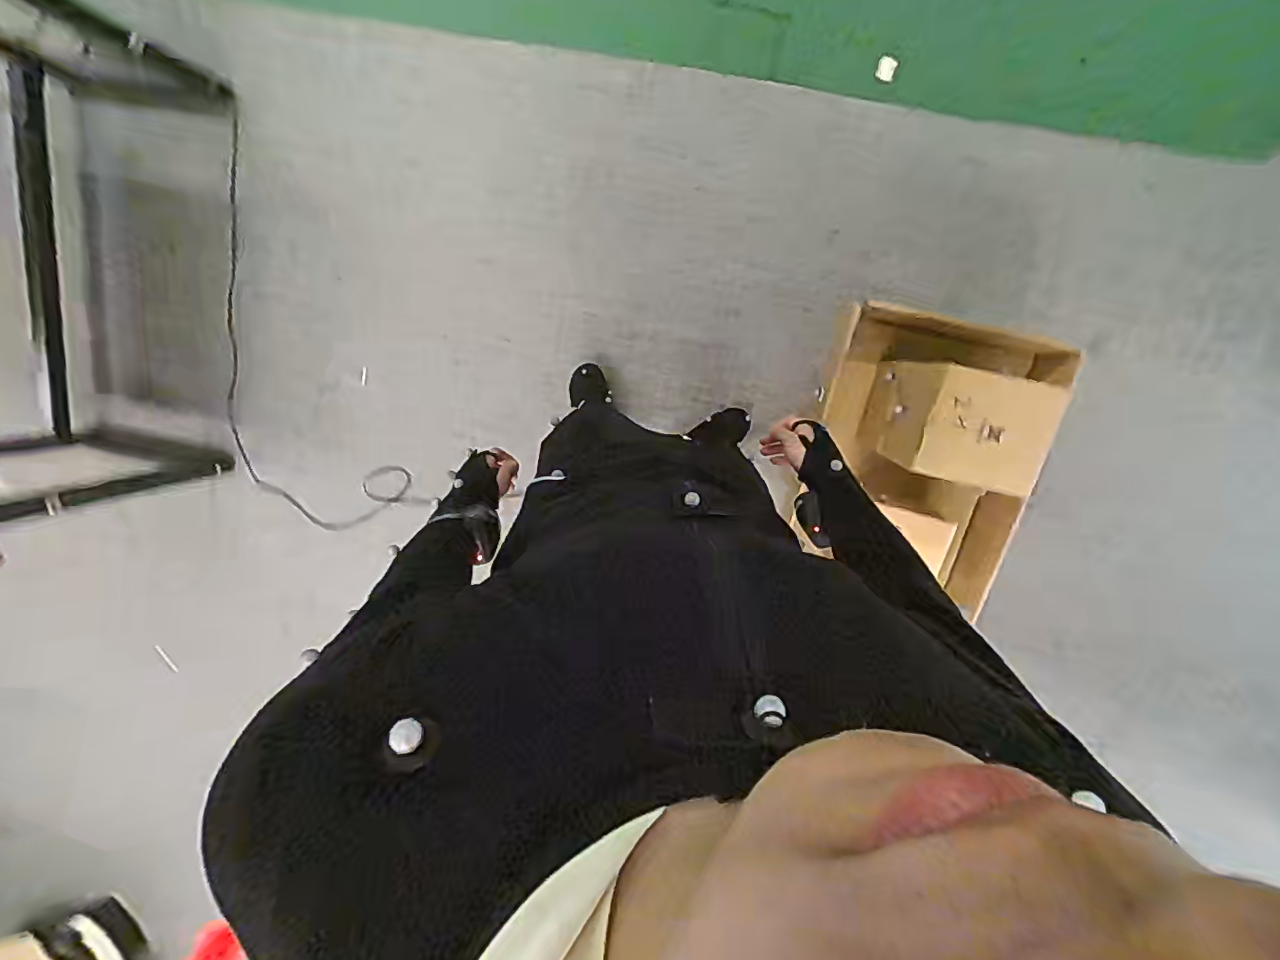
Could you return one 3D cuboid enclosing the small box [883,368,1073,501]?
[{"bbox_3d":[0.524,-0.083,0.869,0.179,0.176,0.168,15,104,4],"label":"small box"}]
